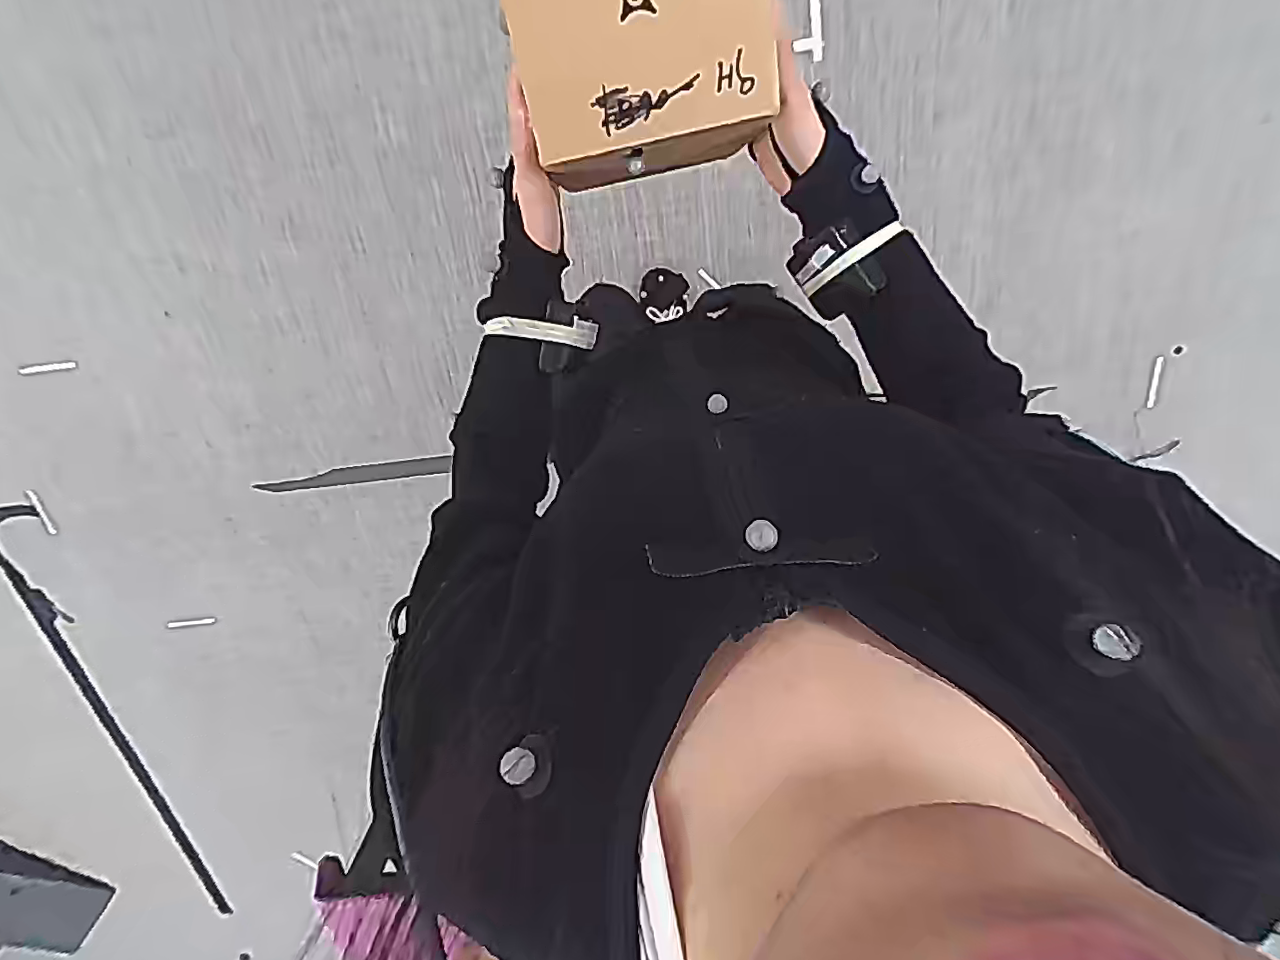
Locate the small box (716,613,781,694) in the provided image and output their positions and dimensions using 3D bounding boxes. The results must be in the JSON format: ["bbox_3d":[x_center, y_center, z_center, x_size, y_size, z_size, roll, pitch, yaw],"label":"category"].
[{"bbox_3d":[0.328,0.520,1.648,0.168,0.176,0.179,-6,112,2],"label":"small box"}]

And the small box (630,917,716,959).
[{"bbox_3d":[0.069,0.978,1.038,0.168,0.176,0.179,-6,113,2],"label":"small box"}]

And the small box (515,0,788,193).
[{"bbox_3d":[0.000,-0.335,0.403,0.168,0.176,0.179,-11,112,3],"label":"small box"}]
